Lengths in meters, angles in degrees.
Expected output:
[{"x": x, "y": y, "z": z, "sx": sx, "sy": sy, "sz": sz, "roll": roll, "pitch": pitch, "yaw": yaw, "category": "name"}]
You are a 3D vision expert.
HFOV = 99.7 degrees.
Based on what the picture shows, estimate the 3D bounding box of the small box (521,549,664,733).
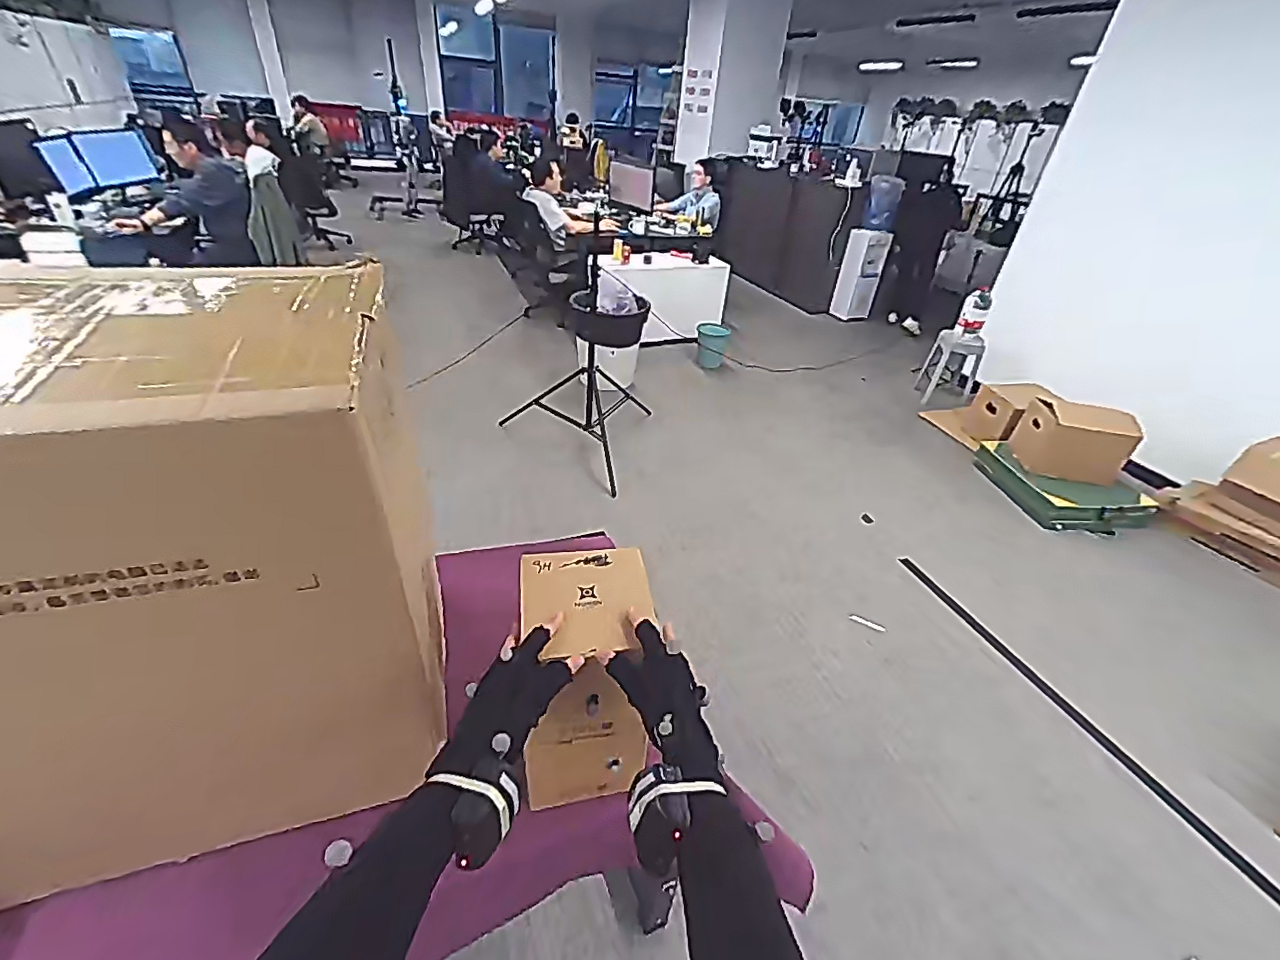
[{"x": -0.068, "y": 0.215, "z": 0.721, "sx": 0.168, "sy": 0.176, "sz": 0.179, "roll": -2, "pitch": 35, "yaw": -10, "category": "small box"}]

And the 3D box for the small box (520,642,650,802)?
[{"x": -0.087, "y": 0.352, "z": 0.809, "sx": 0.168, "sy": 0.176, "sz": 0.179, "roll": -4, "pitch": 34, "yaw": -14, "category": "small box"}]
